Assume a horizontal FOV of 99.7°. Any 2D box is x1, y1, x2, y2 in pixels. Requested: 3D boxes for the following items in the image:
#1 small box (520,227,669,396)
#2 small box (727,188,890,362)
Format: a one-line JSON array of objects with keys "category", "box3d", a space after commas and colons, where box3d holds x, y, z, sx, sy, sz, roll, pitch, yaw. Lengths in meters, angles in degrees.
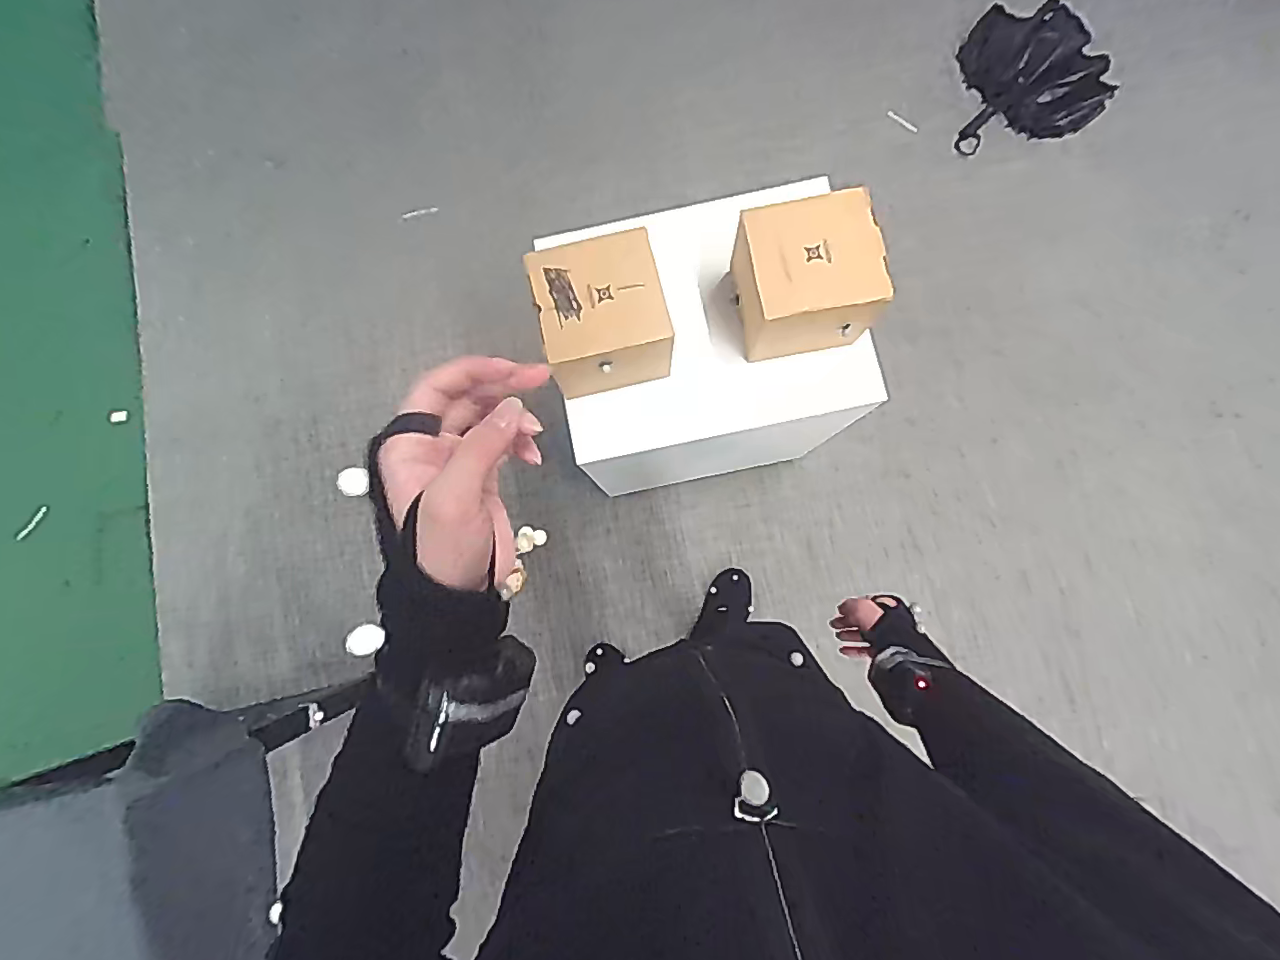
[{"category": "small box", "box3d": [-0.060, -0.236, 0.800, 0.179, 0.176, 0.168, -13, 83, -1]}, {"category": "small box", "box3d": [0.234, -0.290, 0.797, 0.179, 0.176, 0.168, -10, 82, 3]}]
